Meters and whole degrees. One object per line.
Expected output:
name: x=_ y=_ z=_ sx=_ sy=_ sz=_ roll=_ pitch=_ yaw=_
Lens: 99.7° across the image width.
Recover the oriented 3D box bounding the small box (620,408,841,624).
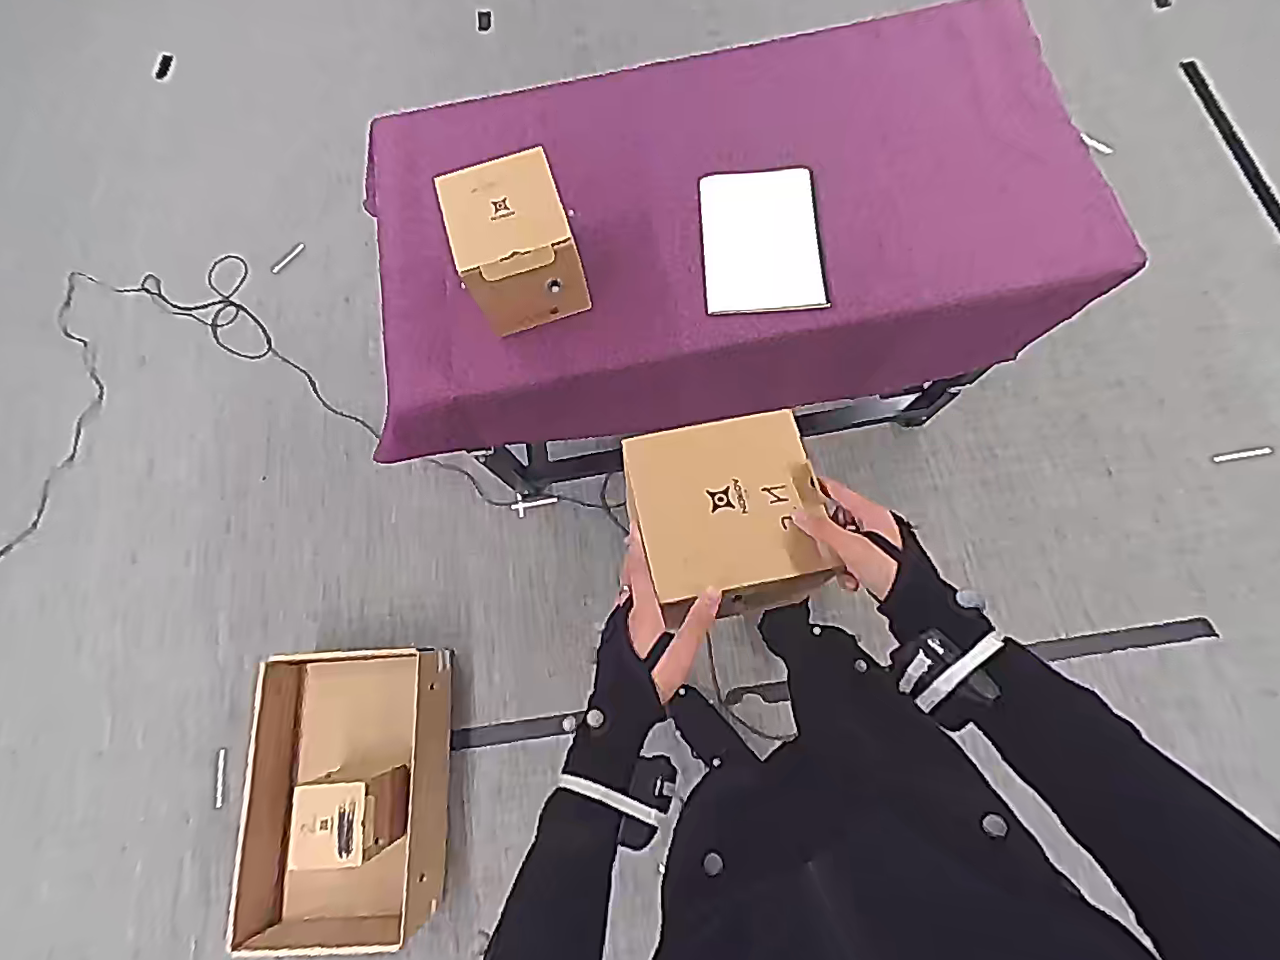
small box: x=0.081 y=0.048 z=0.576 sx=0.179 sy=0.176 sz=0.168 roll=-10 pitch=67 yaw=-5

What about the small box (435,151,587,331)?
small box: x=-0.189 y=-0.354 z=0.836 sx=0.168 sy=0.176 sz=0.179 roll=-18 pitch=74 yaw=-1
